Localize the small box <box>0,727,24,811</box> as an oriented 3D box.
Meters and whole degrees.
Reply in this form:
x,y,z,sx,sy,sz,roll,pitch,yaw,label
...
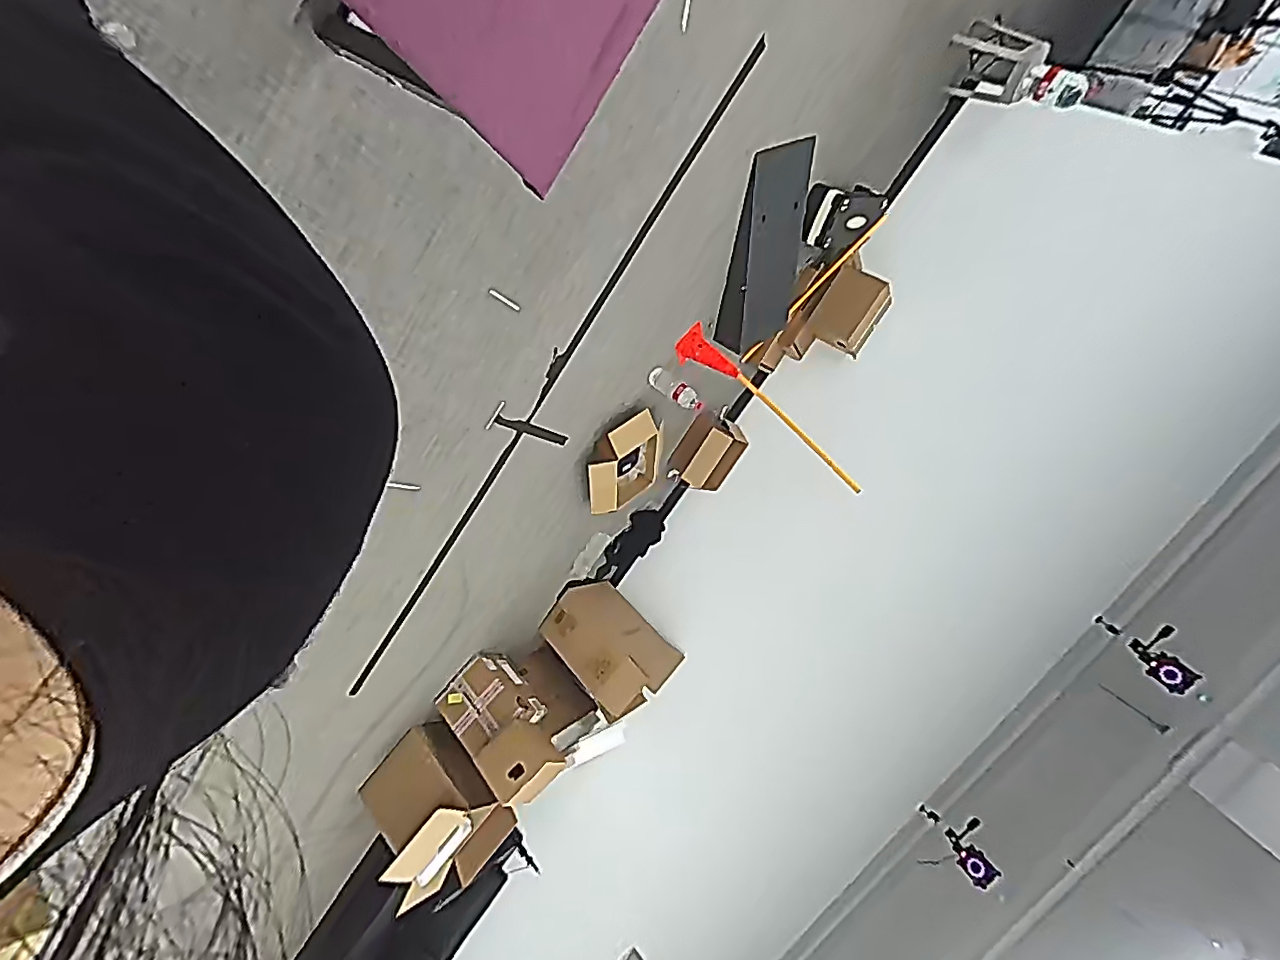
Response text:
x,y,z,sx,sy,sz,roll,pitch,yaw,label
-0.849,0.373,0.598,0.179,0.176,0.168,-54,155,10,small box

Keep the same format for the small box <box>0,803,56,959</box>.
x,y,z,sx,sy,sz,roll,pitch,yaw,label
-0.737,0.469,0.530,0.179,0.176,0.168,-55,156,10,small box
